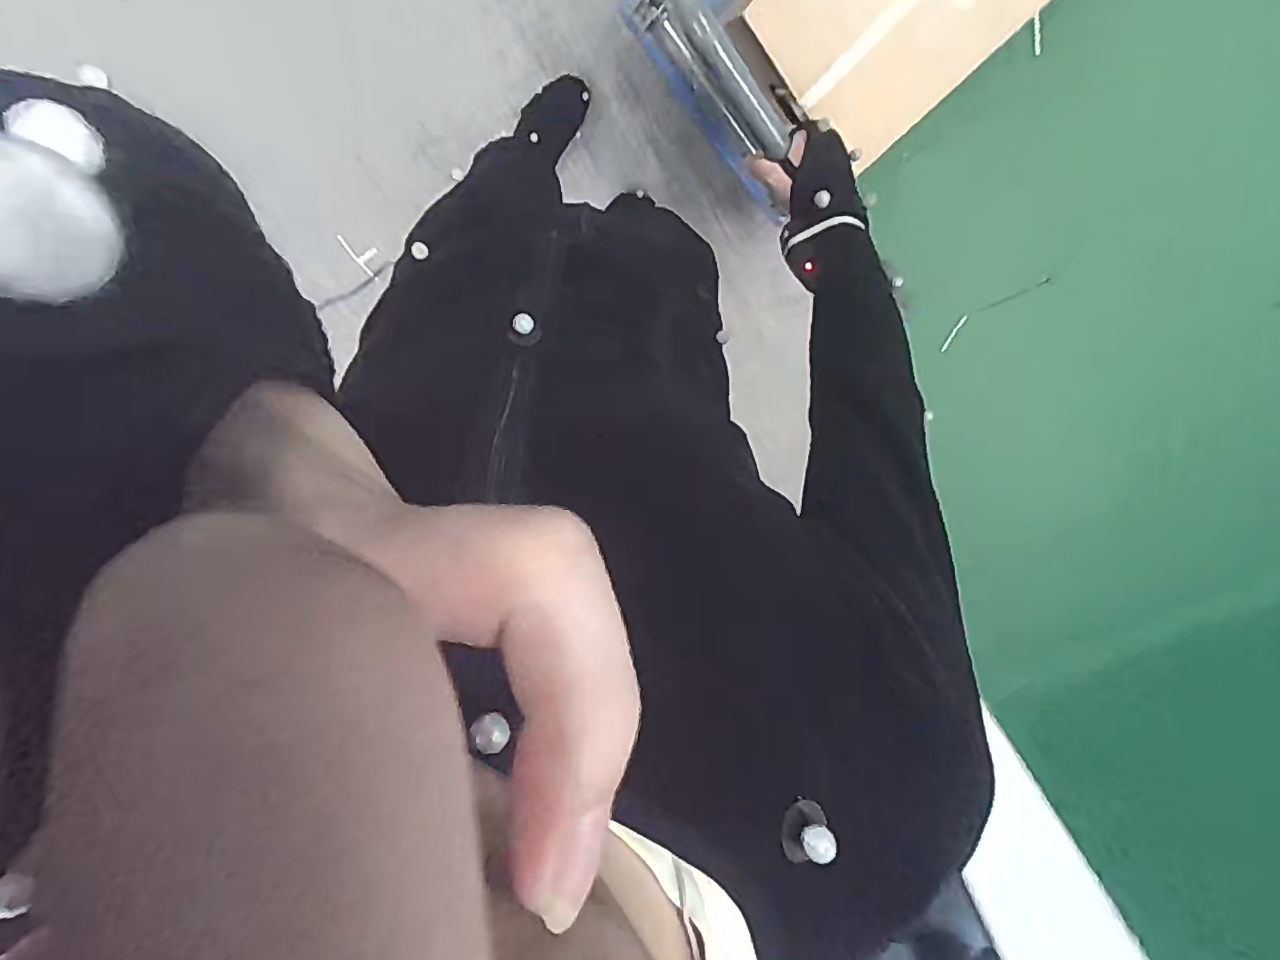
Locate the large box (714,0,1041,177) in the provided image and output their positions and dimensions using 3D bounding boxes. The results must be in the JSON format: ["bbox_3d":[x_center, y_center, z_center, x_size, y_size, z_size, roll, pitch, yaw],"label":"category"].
[{"bbox_3d":[0.391,-0.812,0.924,0.408,0.320,0.320,-39,120,21],"label":"large box"}]
